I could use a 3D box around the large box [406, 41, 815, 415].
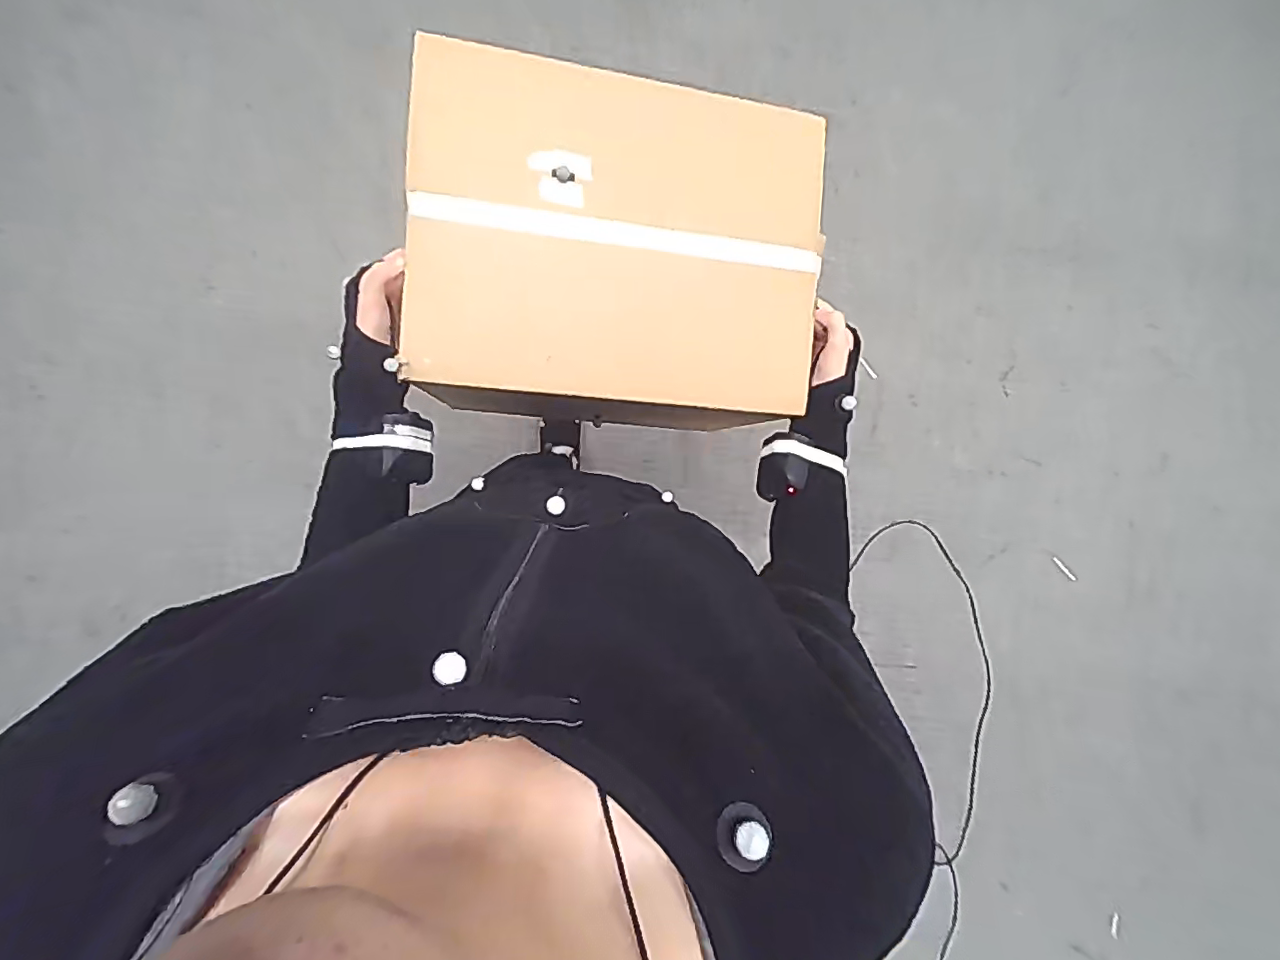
[{"bbox_3d":[-0.043,-0.252,0.683,0.408,0.320,0.320,3,92,-11],"label":"large box"}]
